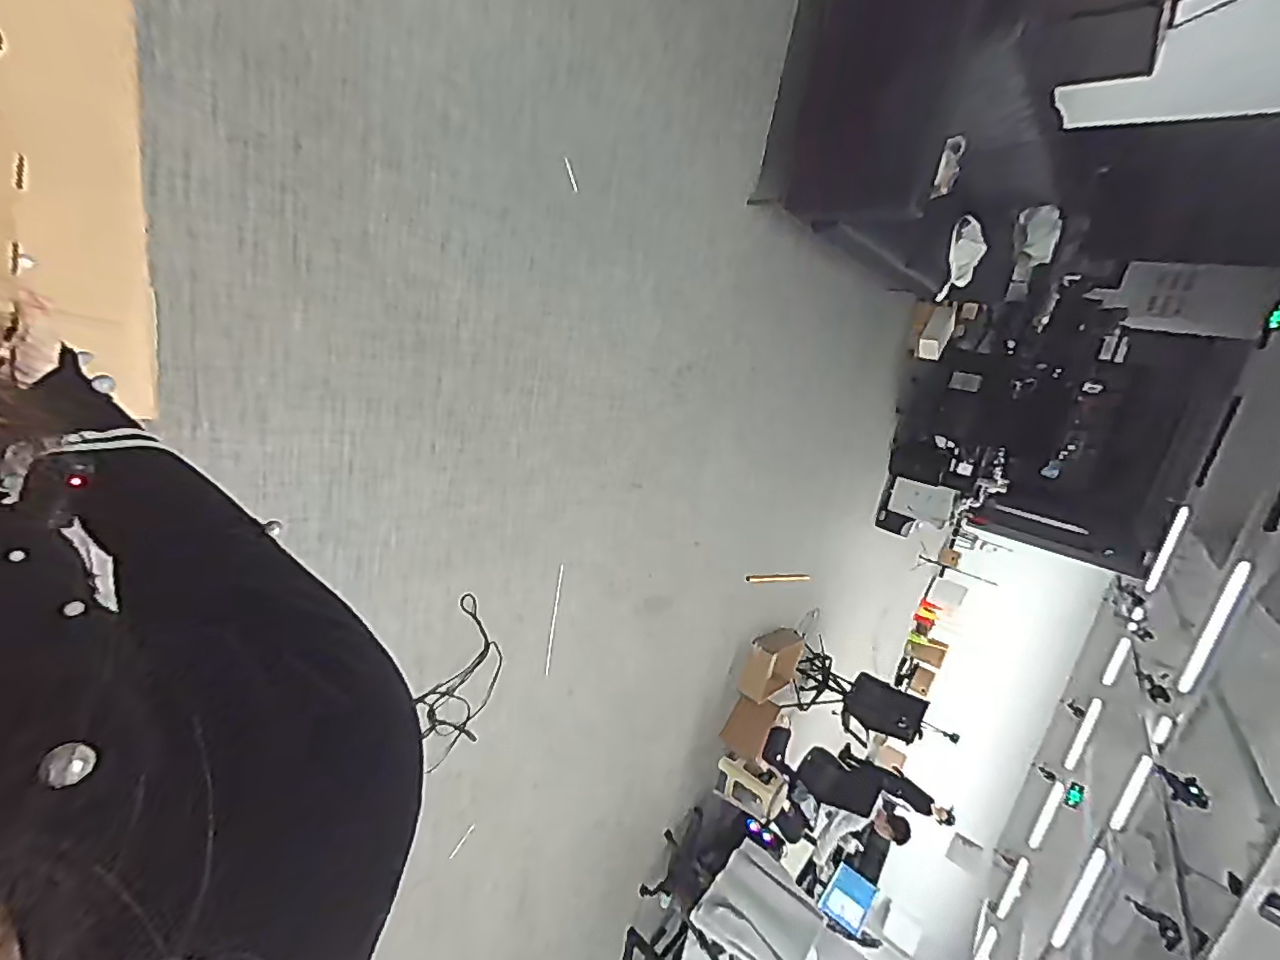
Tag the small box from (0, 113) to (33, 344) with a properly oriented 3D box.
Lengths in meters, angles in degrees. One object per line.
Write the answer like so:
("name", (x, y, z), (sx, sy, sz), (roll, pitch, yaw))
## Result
("small box", (-0.612, -0.210, 0.419), (0.179, 0.176, 0.168), (5, 85, -51))
